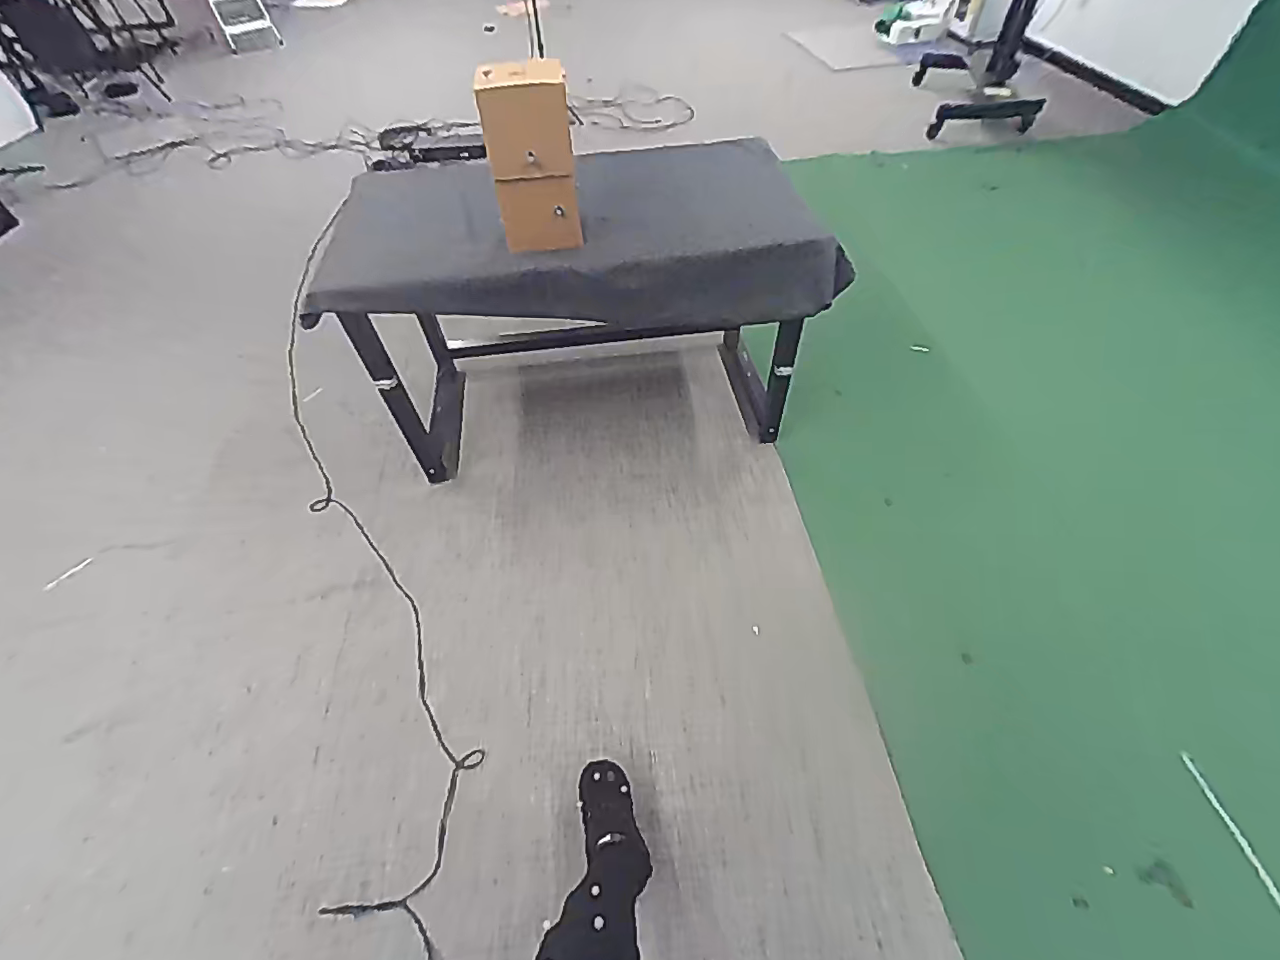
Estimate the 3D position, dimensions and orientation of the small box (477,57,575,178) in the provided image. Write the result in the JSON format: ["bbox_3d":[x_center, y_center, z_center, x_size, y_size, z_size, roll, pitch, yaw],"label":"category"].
[{"bbox_3d":[-0.230,-0.757,1.134,0.179,0.176,0.168,-7,51,-3],"label":"small box"}]

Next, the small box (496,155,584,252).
[{"bbox_3d":[-0.227,-0.659,1.265,0.179,0.176,0.168,-8,51,-2],"label":"small box"}]
